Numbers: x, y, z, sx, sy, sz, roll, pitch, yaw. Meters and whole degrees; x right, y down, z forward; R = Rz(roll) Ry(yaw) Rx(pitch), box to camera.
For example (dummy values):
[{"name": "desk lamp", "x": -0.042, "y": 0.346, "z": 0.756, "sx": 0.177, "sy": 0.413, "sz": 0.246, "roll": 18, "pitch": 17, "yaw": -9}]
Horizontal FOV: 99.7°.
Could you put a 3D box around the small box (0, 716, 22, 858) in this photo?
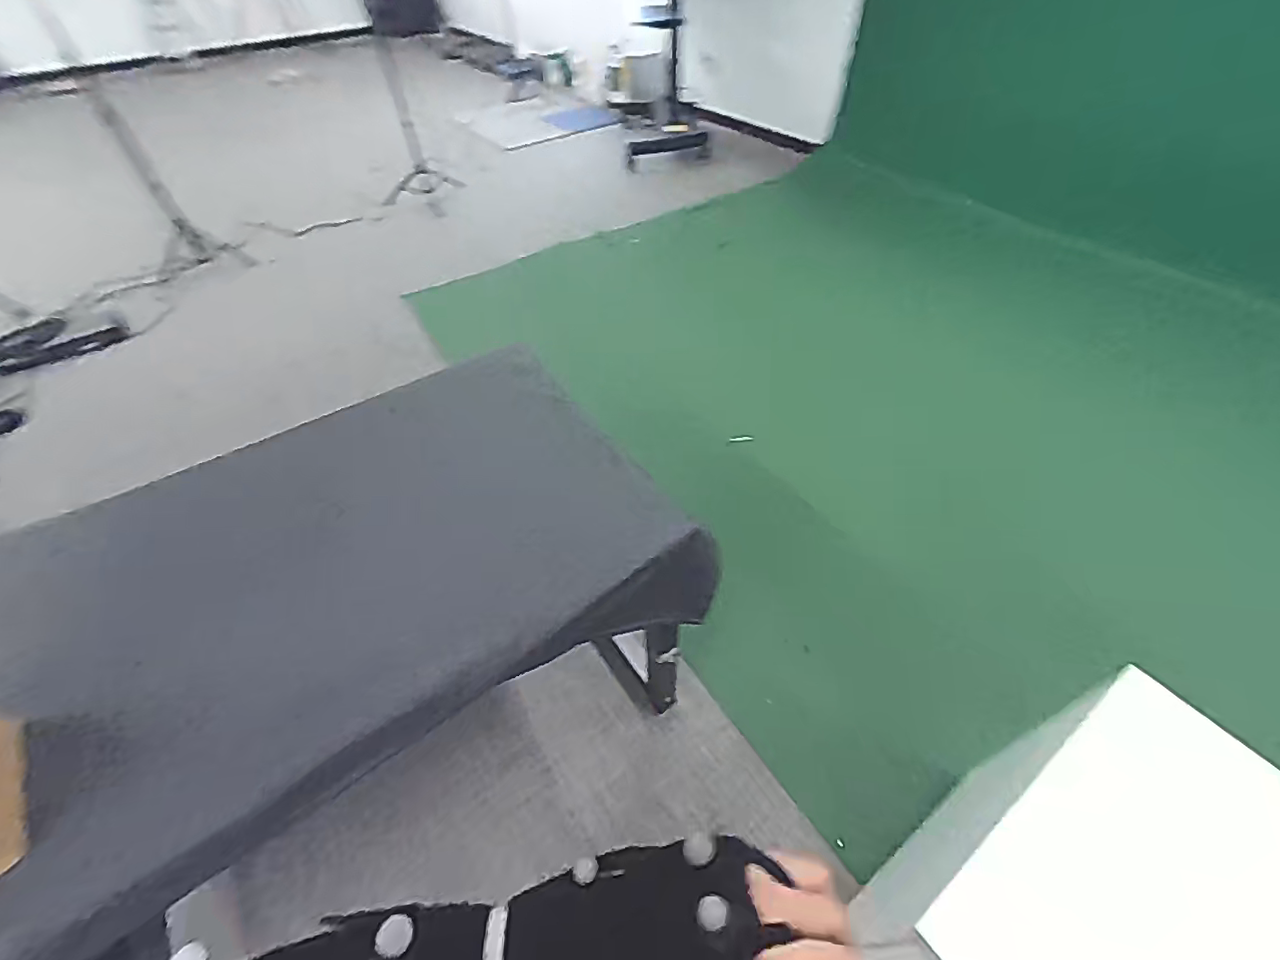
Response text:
[{"name": "small box", "x": -0.735, "y": 0.306, "z": 0.494, "sx": 0.168, "sy": 0.176, "sz": 0.179, "roll": -33, "pitch": 55, "yaw": -25}]
